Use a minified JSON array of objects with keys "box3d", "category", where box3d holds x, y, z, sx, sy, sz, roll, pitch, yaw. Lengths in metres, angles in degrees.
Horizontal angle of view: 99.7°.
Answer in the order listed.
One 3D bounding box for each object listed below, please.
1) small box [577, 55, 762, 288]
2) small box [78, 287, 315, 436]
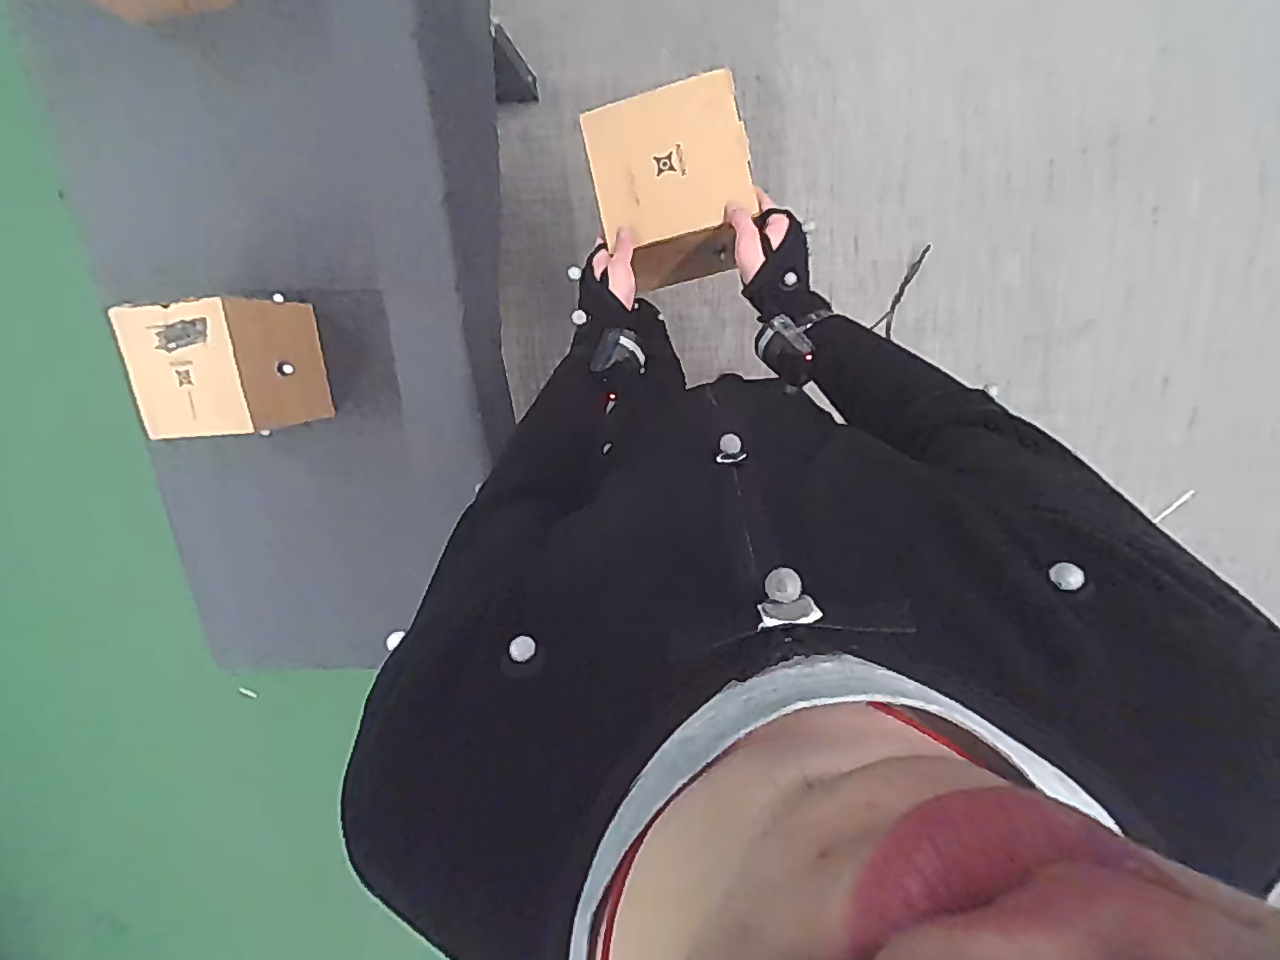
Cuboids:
[{"box3d":[0.039,-0.357,0.663,0.179,0.176,0.168,-13,90,8],"category":"small box"},{"box3d":[-0.592,-0.163,0.749,0.168,0.176,0.179,-2,105,6],"category":"small box"}]
